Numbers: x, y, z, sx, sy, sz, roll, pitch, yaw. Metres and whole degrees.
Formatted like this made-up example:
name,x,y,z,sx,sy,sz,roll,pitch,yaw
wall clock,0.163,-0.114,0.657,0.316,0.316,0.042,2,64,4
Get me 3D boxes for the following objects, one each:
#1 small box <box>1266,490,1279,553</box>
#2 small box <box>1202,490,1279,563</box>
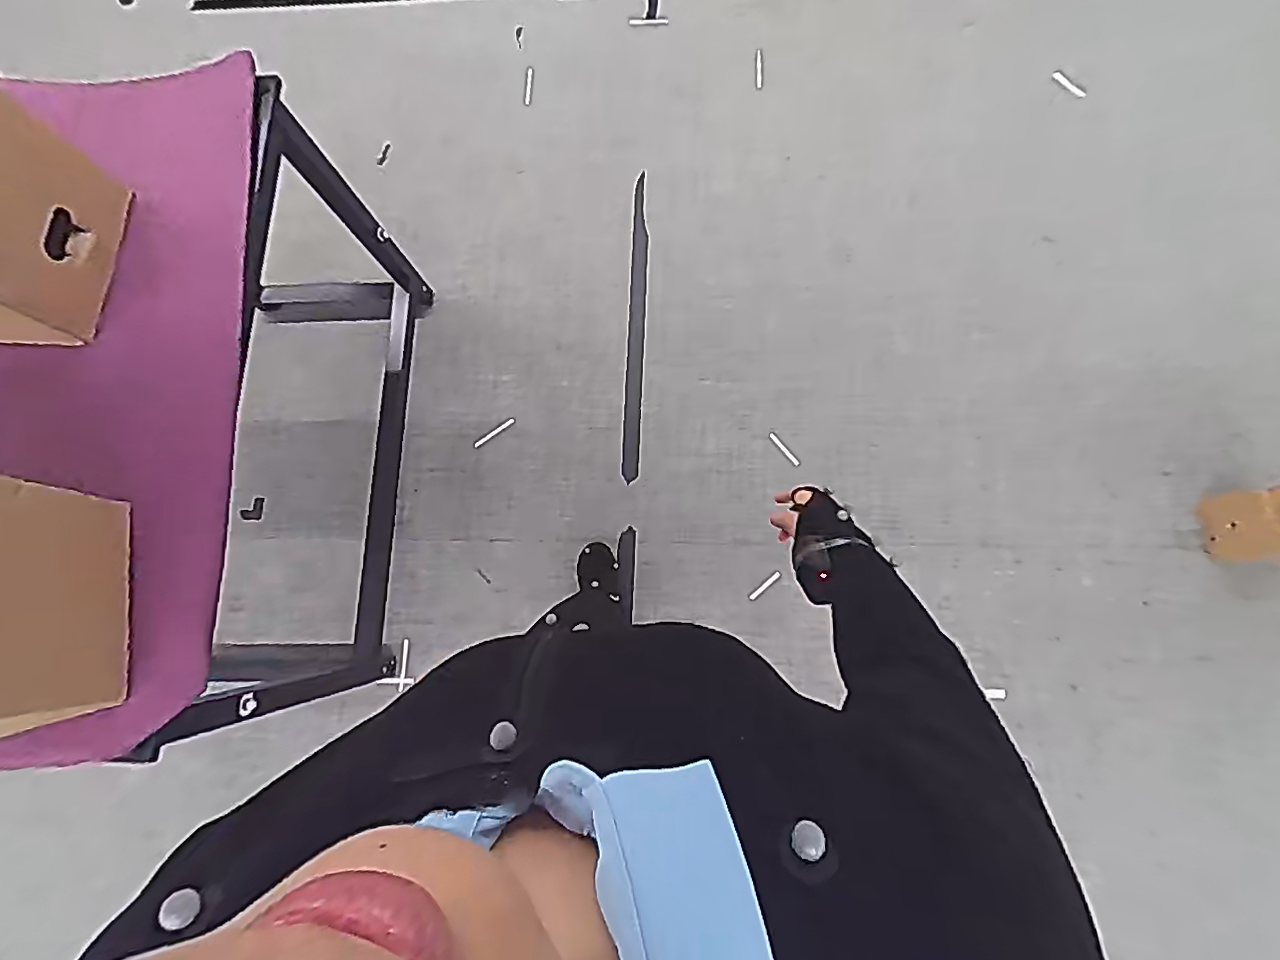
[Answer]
name,x,y,z,sx,sy,sz,roll,pitch,yaw
small box,1.597,0.089,1.214,0.179,0.176,0.168,1,77,4
small box,1.597,0.122,1.373,0.179,0.176,0.168,-1,77,2
